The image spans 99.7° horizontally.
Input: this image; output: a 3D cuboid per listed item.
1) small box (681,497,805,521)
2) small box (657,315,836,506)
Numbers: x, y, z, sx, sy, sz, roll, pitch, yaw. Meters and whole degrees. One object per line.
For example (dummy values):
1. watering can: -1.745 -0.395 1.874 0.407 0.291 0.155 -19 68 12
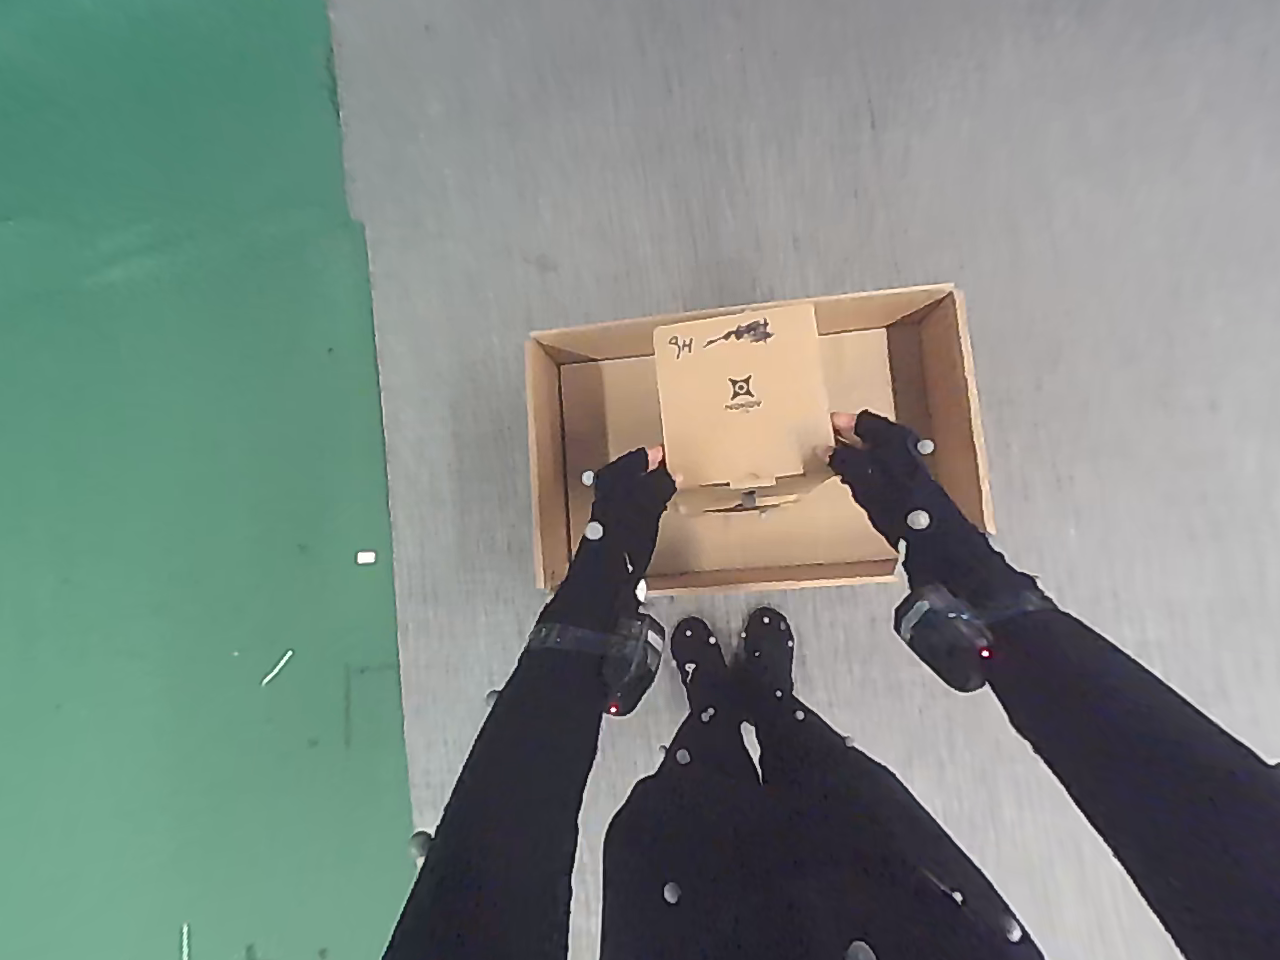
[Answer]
1. small box: 0.141 -0.031 0.808 0.168 0.176 0.179 -6 83 6
2. small box: 0.119 -0.064 0.624 0.168 0.176 0.179 -7 81 9
